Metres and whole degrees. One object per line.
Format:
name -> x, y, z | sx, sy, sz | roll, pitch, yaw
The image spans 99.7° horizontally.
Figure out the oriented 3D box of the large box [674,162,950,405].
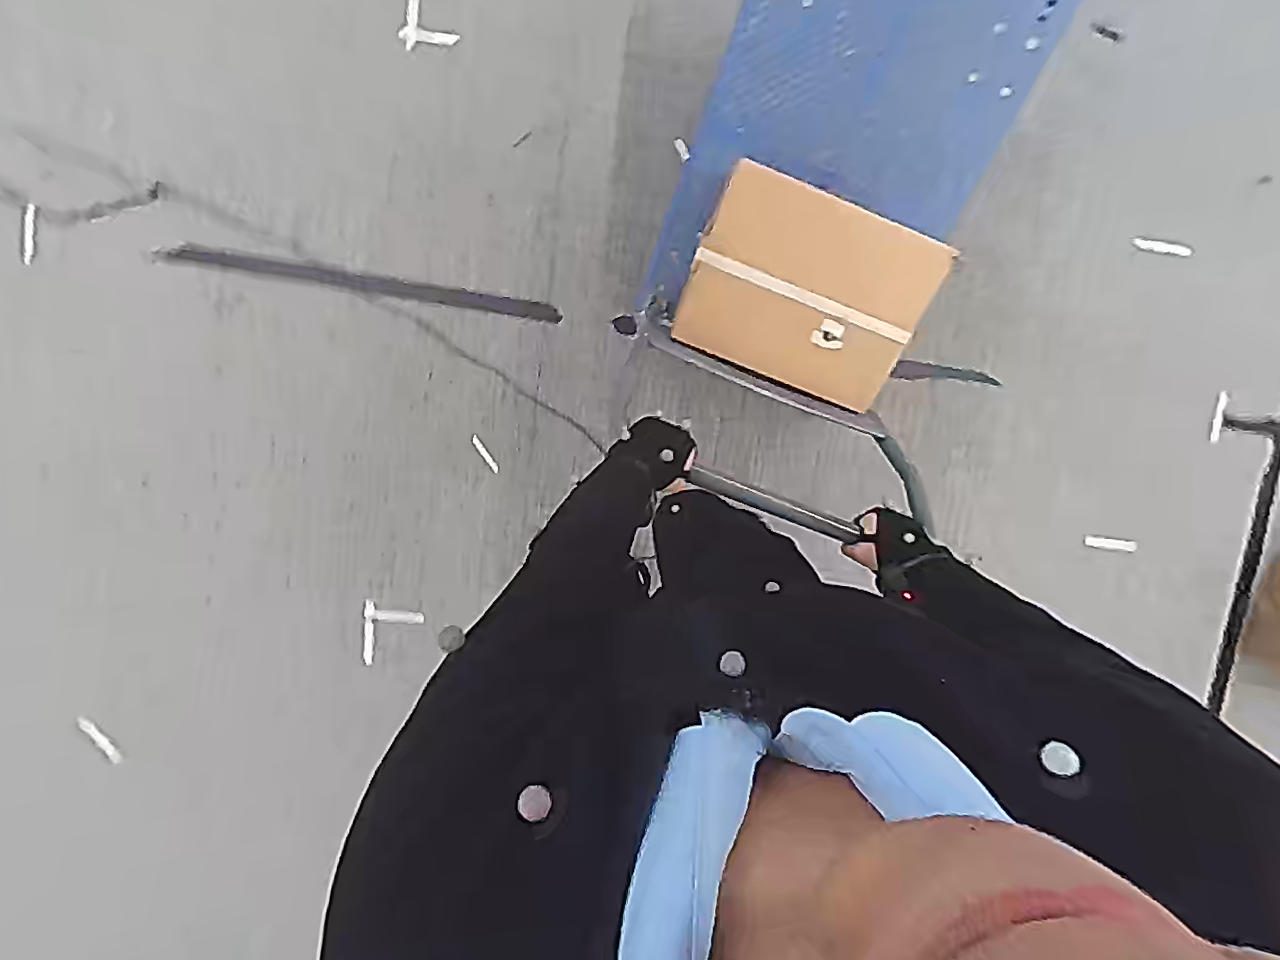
large box -> 0.308, -0.400, 1.110 | 0.408, 0.320, 0.320 | 21, 116, -5
